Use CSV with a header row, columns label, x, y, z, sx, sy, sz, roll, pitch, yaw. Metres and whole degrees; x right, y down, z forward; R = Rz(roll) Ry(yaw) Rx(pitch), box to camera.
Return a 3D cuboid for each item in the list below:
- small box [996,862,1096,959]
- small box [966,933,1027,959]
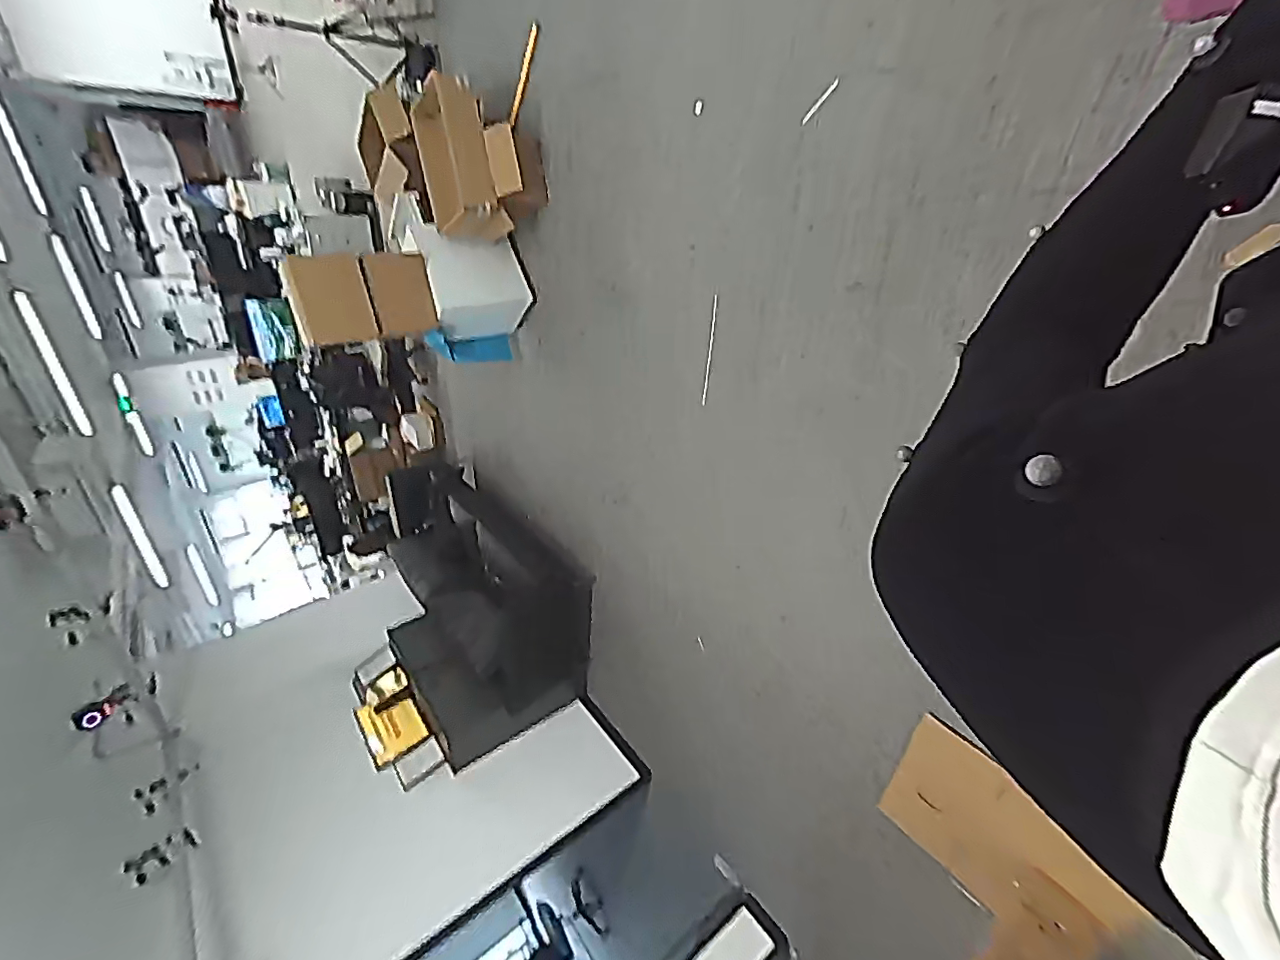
label,x,y,z,sx,sy,sz,roll,pitch,yaw
small box,1.279,1.363,1.701,0.179,0.176,0.168,40,136,38
small box,1.021,1.436,1.512,0.179,0.176,0.168,42,136,36
